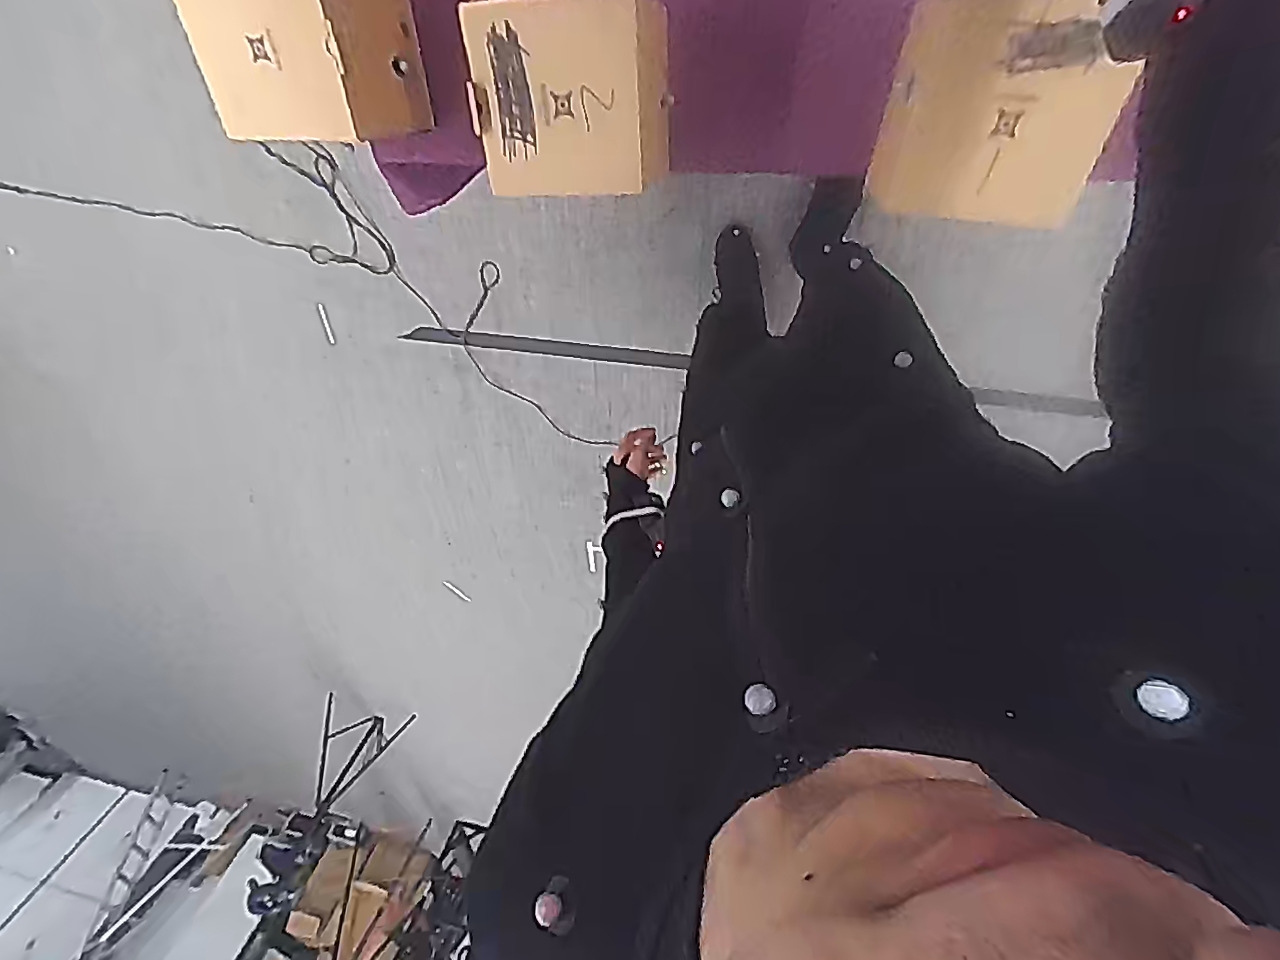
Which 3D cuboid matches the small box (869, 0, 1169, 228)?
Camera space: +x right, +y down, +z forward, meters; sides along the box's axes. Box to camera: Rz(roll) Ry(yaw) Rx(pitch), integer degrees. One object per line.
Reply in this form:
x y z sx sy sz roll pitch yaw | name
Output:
0.339 -0.368 0.533 0.168 0.176 0.179 11 129 8 | small box

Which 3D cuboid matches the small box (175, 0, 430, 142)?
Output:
-0.380 -0.498 0.632 0.179 0.176 0.168 6 127 9 | small box
